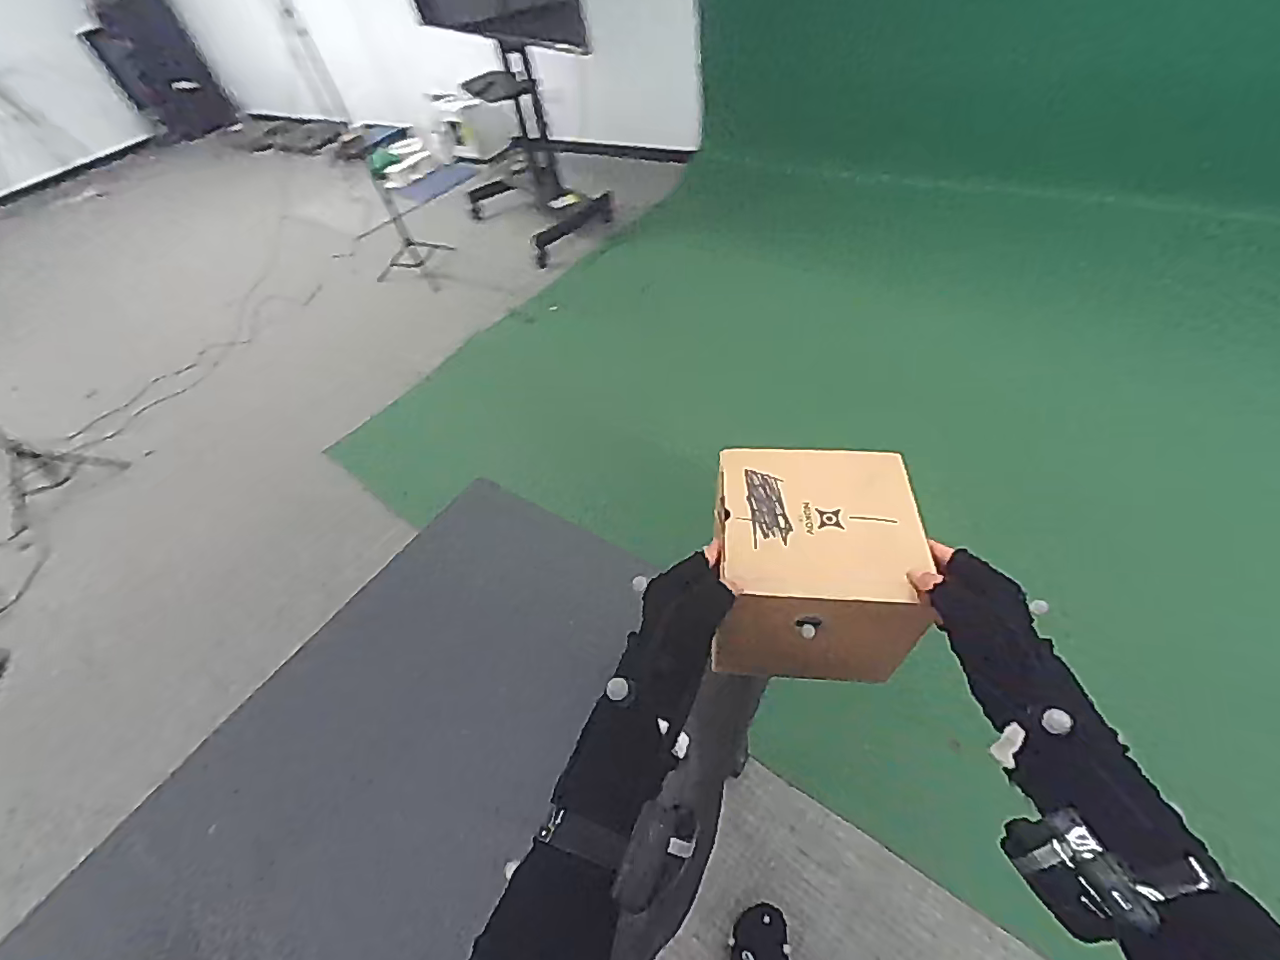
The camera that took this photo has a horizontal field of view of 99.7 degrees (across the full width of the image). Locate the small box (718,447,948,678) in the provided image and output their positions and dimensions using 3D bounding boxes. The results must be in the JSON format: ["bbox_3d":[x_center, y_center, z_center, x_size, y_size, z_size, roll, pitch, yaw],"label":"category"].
[{"bbox_3d":[0.171,0.085,0.546,0.179,0.176,0.168,3,50,6],"label":"small box"}]
